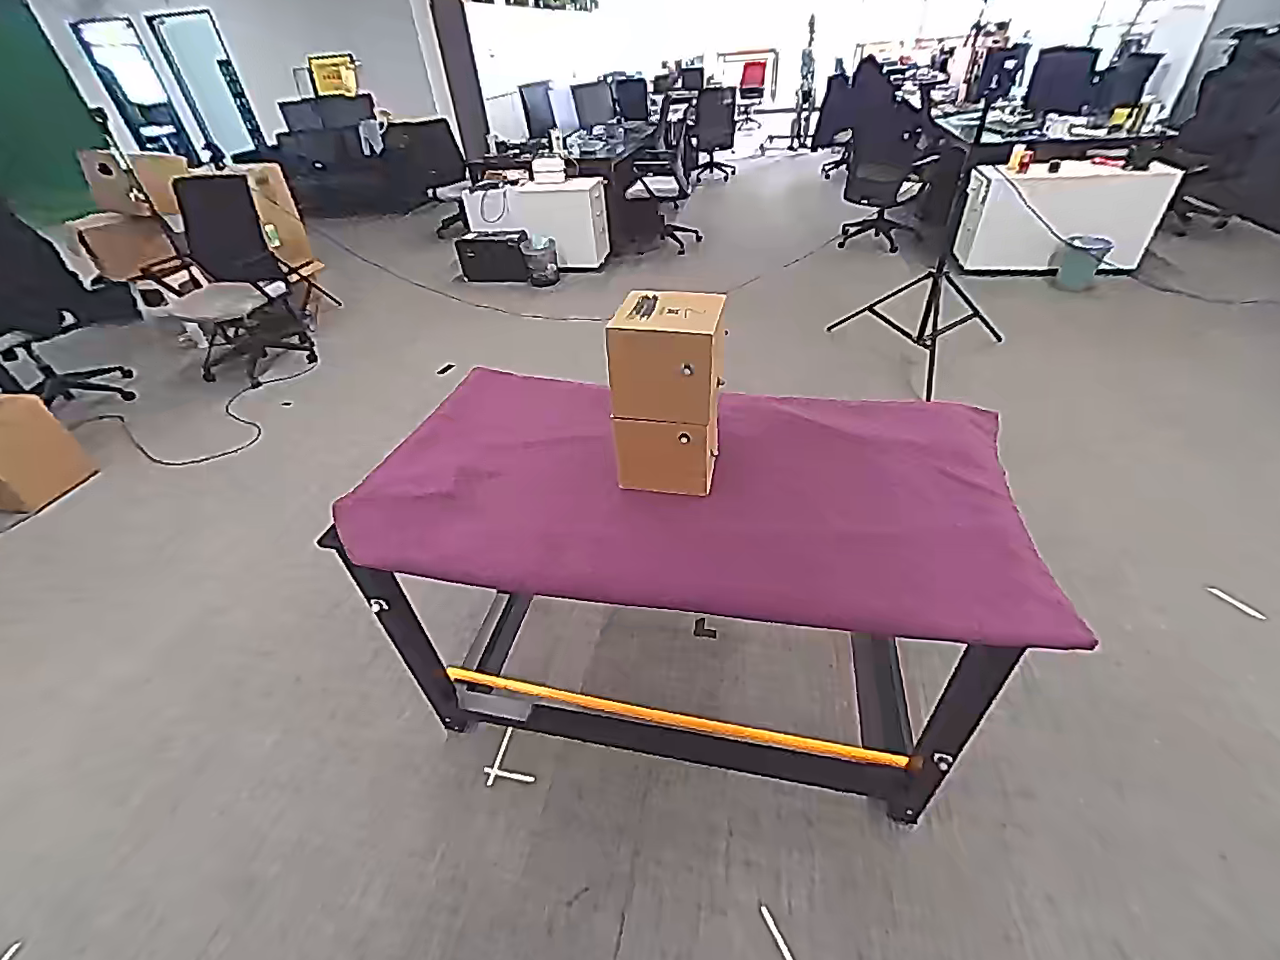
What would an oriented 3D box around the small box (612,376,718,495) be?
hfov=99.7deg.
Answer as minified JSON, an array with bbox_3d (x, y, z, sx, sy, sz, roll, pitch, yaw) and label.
[{"bbox_3d":[0.055,-0.087,1.054,0.179,0.176,0.168,5,40,12],"label":"small box"}]
